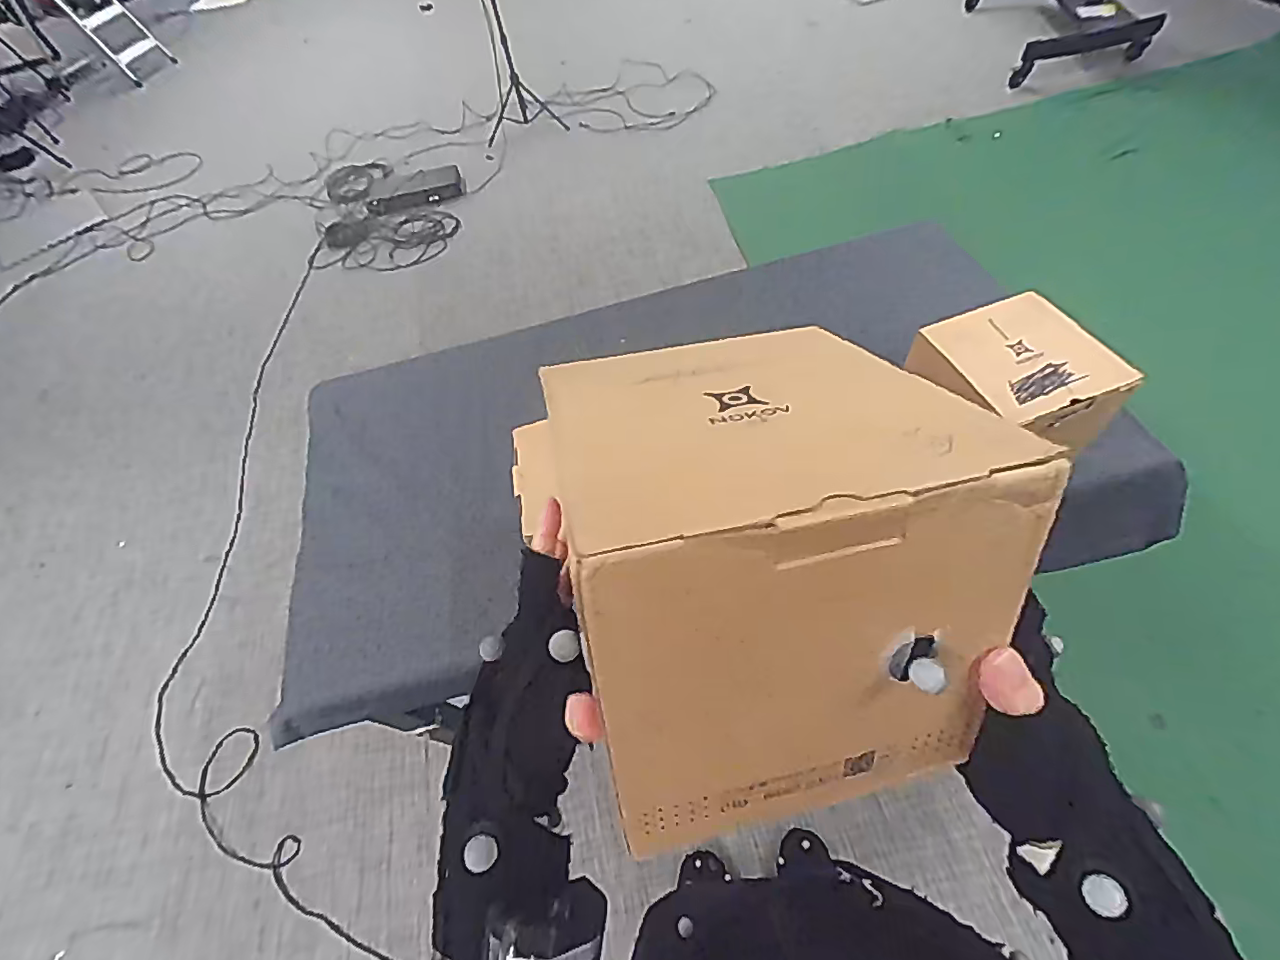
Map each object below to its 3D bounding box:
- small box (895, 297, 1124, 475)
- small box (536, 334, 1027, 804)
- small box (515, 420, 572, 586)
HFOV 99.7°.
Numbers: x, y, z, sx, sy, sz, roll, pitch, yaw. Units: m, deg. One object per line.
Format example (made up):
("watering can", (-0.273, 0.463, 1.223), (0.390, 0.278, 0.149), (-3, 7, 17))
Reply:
("small box", (0.459, -0.104, 0.718), (0.168, 0.176, 0.179), (-19, 55, -4))
("small box", (0.045, 0.036, 0.286), (0.168, 0.176, 0.179), (-10, 30, -10))
("small box", (-0.051, 0.022, 0.711), (0.179, 0.176, 0.168), (-14, 55, -1))
